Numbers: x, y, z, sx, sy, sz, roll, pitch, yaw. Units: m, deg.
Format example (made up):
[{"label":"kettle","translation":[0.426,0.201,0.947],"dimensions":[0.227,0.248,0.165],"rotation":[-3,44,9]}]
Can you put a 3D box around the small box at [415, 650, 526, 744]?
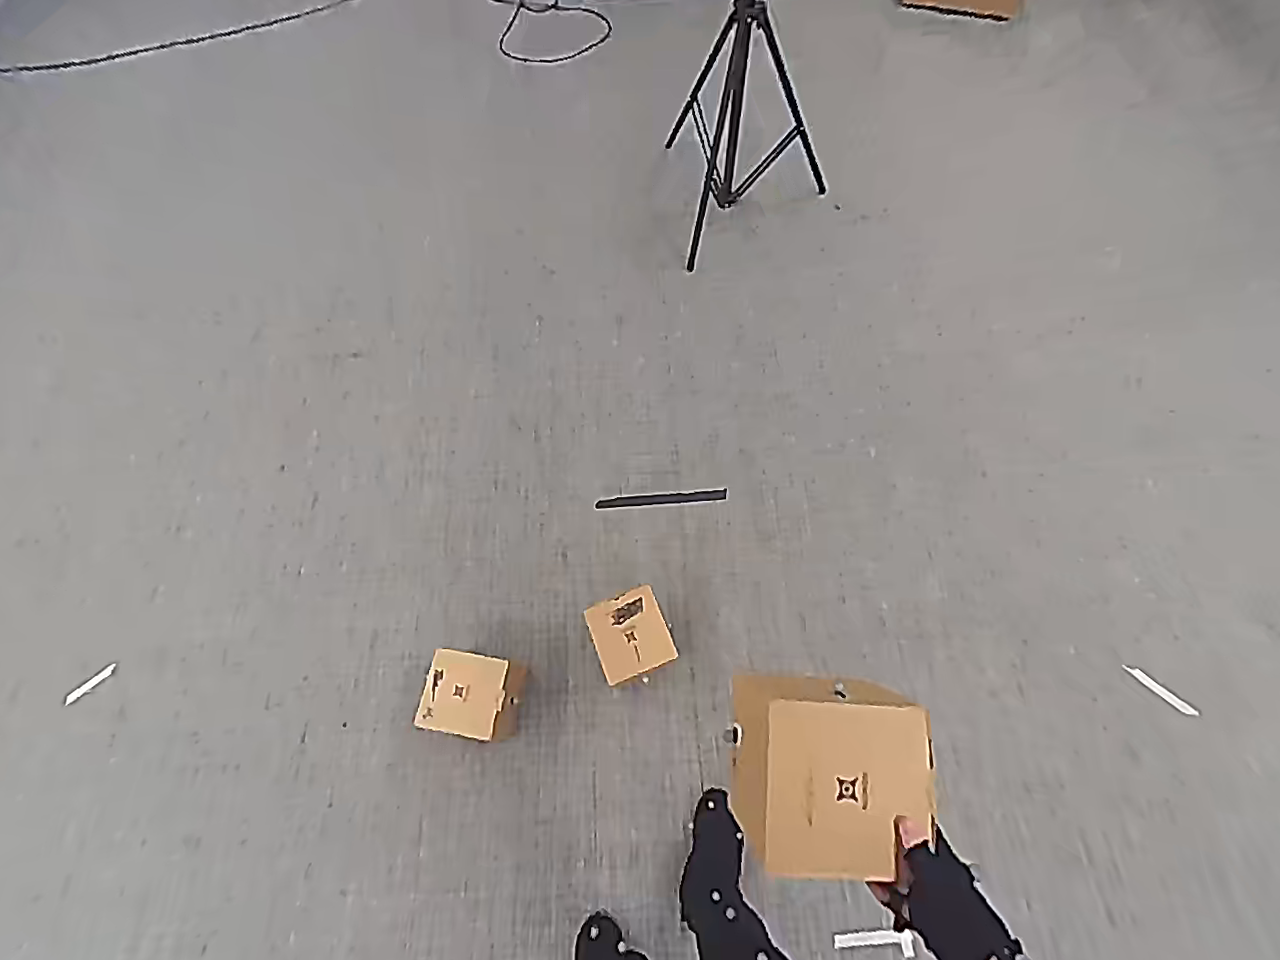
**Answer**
[{"label":"small box","translation":[-0.376,0.495,1.240],"dimensions":[0.179,0.176,0.168],"rotation":[8,68,7]}]

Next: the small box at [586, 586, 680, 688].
[{"label":"small box","translation":[-0.016,0.374,1.270],"dimensions":[0.168,0.176,0.179],"rotation":[-21,68,-6]}]
